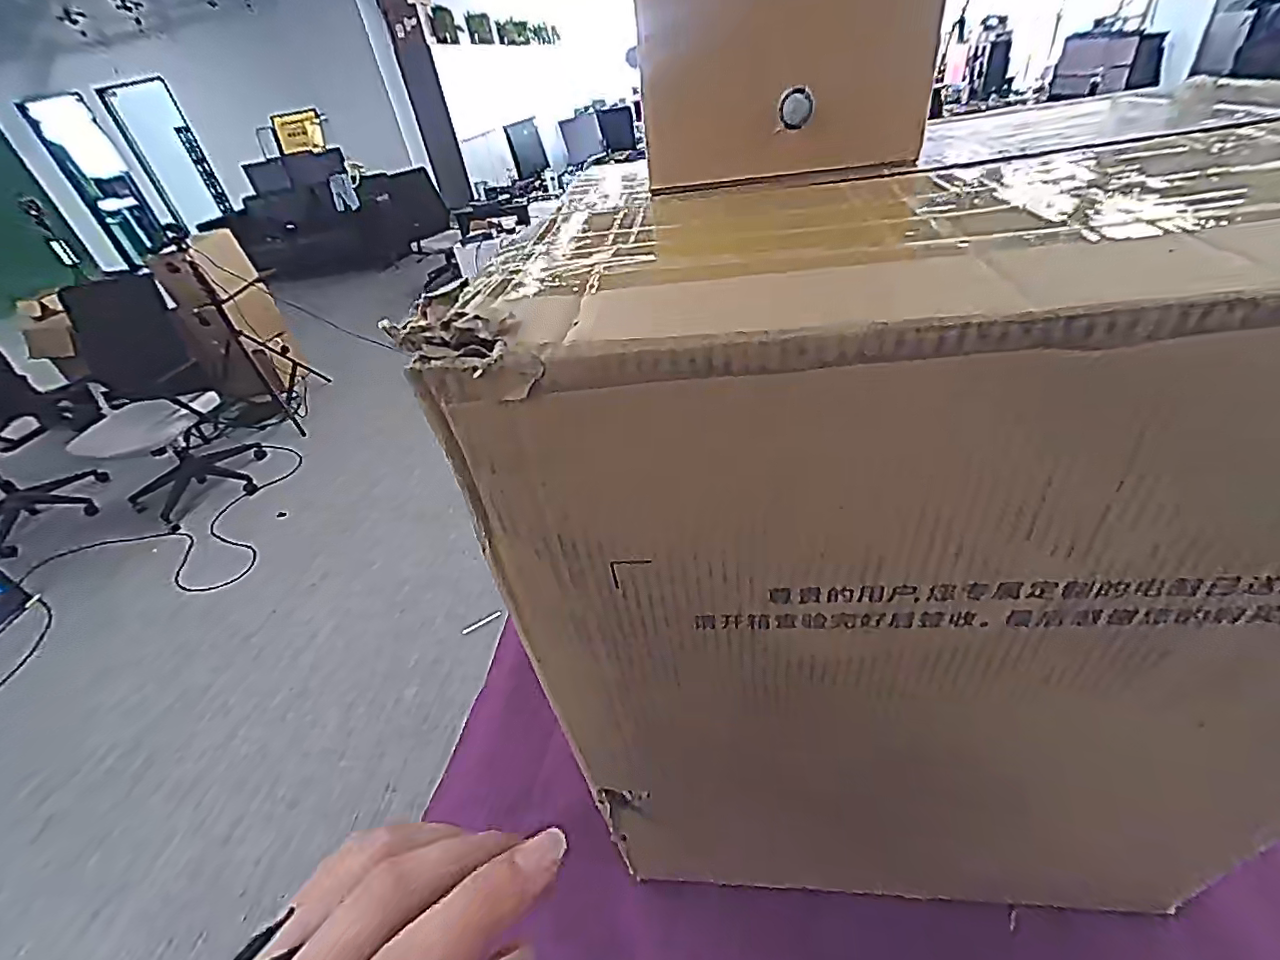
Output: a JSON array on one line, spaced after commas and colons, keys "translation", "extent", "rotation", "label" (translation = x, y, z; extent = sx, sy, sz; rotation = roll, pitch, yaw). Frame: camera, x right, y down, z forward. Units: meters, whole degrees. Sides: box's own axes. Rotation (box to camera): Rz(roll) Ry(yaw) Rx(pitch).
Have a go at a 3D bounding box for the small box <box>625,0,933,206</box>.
[{"translation": [0.086, -0.306, 0.374], "extent": [0.179, 0.176, 0.168], "rotation": [-2, 38, 10], "label": "small box"}]
